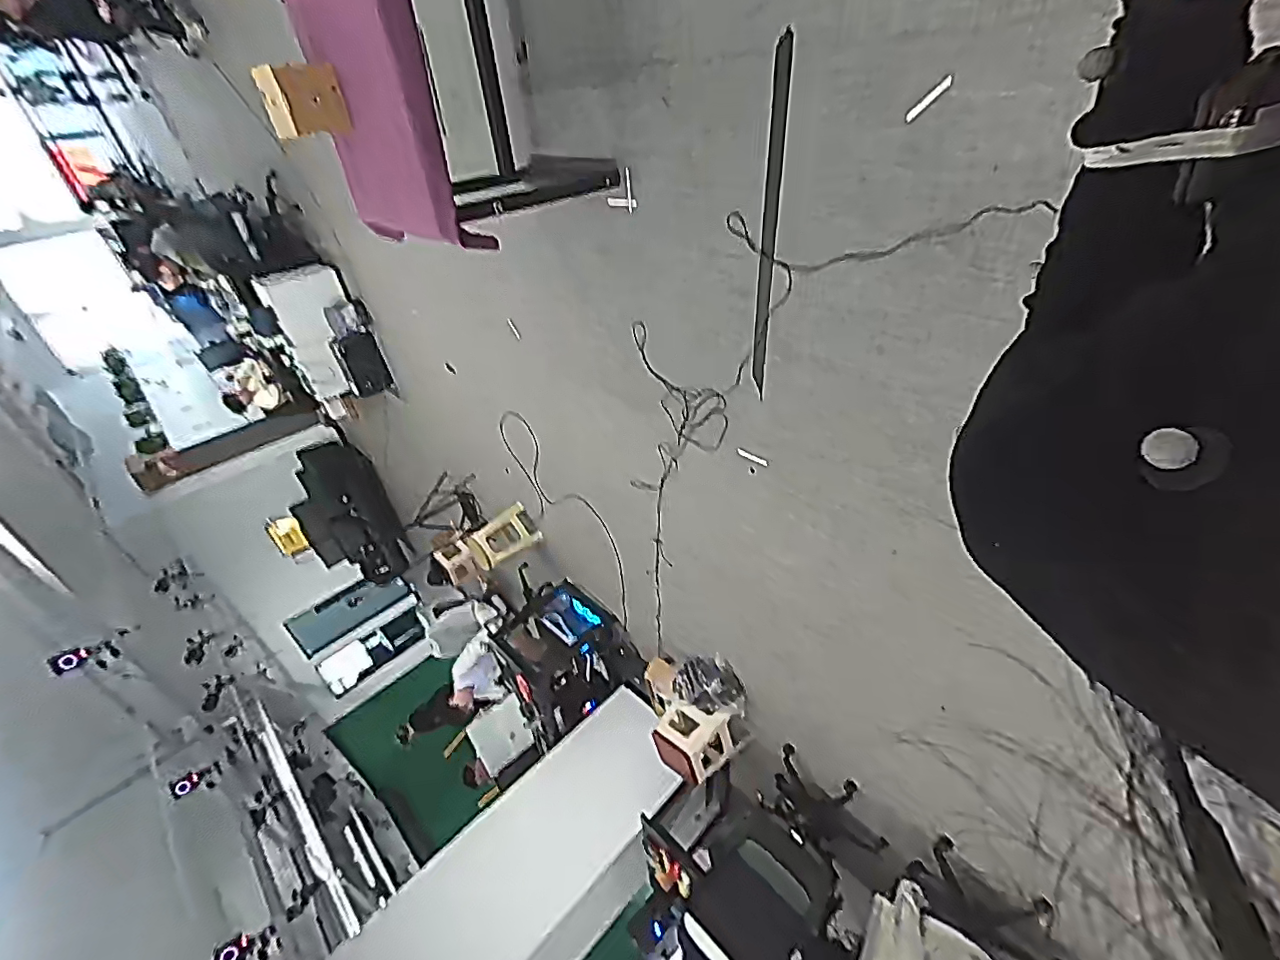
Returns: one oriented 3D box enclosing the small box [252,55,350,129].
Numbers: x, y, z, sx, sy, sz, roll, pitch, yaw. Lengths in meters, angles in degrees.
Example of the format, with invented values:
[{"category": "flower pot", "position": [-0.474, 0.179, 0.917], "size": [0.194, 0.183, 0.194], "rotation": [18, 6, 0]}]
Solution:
[{"category": "small box", "position": [-0.988, -1.142, 1.593], "size": [0.179, 0.176, 0.168], "rotation": [26, 137, 35]}]
